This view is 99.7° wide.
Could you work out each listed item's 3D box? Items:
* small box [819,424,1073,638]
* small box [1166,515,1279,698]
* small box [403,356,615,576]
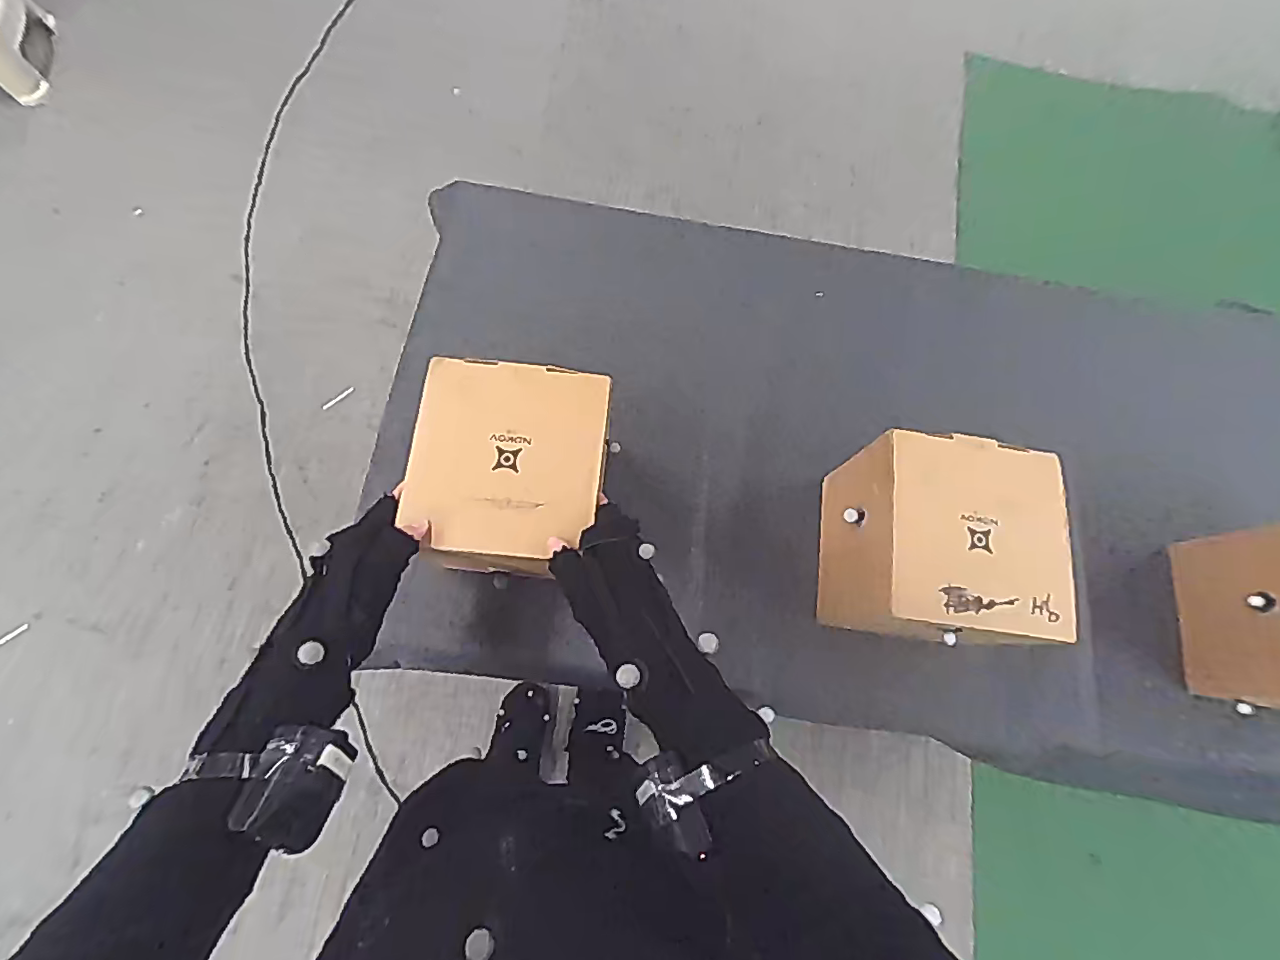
[{"bbox_3d":[0.298,0.064,0.565,0.168,0.176,0.179,8,73,-1],"label":"small box"},{"bbox_3d":[0.718,0.142,0.568,0.168,0.176,0.179,10,72,0],"label":"small box"},{"bbox_3d":[-0.117,-0.003,0.554,0.168,0.176,0.179,5,75,-2],"label":"small box"}]
